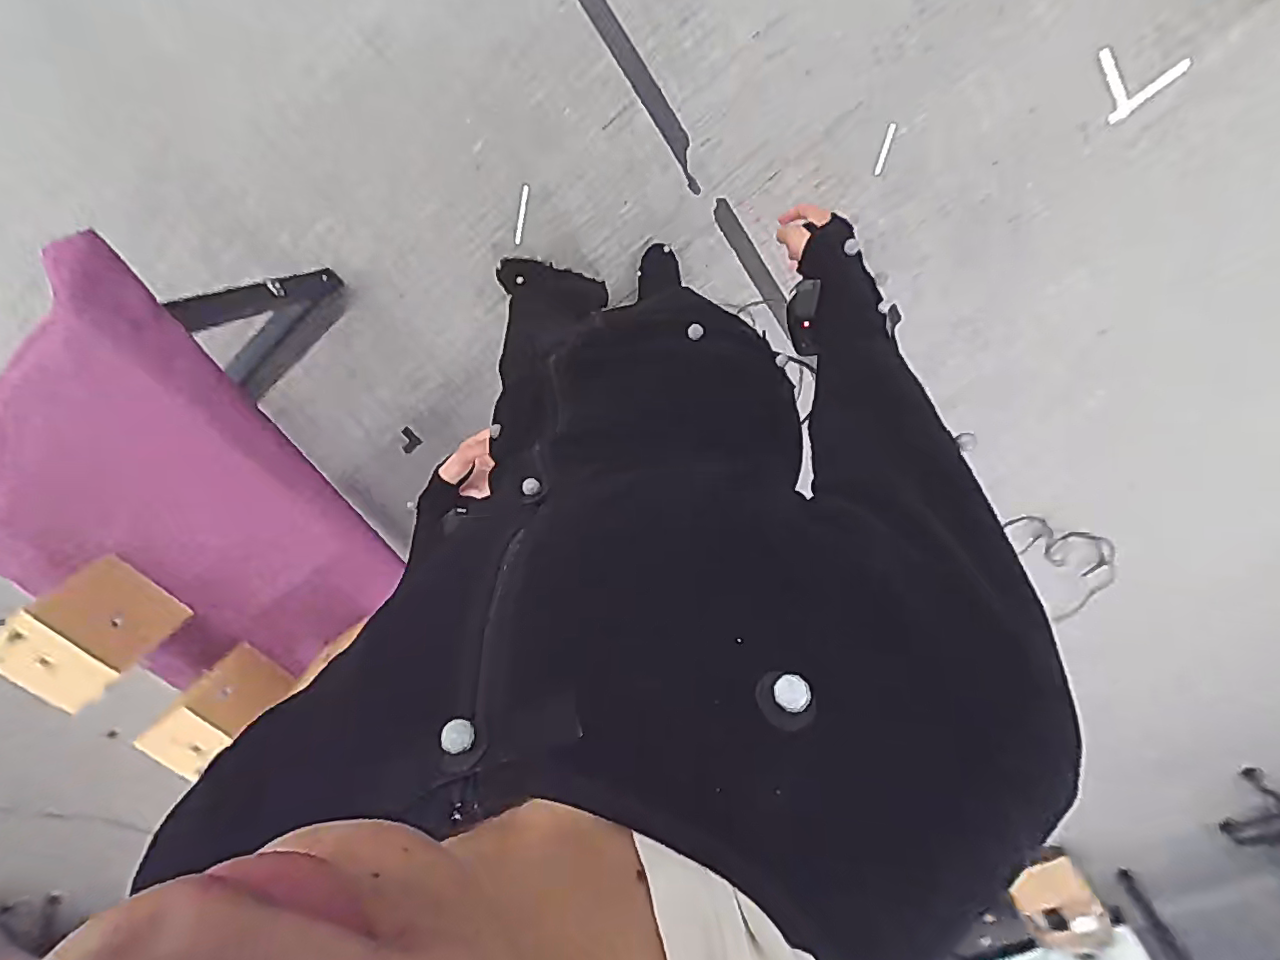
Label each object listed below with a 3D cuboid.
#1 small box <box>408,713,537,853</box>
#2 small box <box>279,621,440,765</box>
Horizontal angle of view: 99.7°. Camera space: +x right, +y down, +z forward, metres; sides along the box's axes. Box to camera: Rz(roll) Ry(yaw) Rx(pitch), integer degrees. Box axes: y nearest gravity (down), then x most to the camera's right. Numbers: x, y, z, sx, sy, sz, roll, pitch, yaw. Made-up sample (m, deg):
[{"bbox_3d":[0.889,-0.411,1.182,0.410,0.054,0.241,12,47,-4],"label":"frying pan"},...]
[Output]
[{"bbox_3d":[-0.344,0.637,1.147,0.179,0.176,0.168,-38,108,18],"label":"small box"},{"bbox_3d":[-0.521,0.394,1.029,0.168,0.176,0.179,-33,112,18],"label":"small box"}]
